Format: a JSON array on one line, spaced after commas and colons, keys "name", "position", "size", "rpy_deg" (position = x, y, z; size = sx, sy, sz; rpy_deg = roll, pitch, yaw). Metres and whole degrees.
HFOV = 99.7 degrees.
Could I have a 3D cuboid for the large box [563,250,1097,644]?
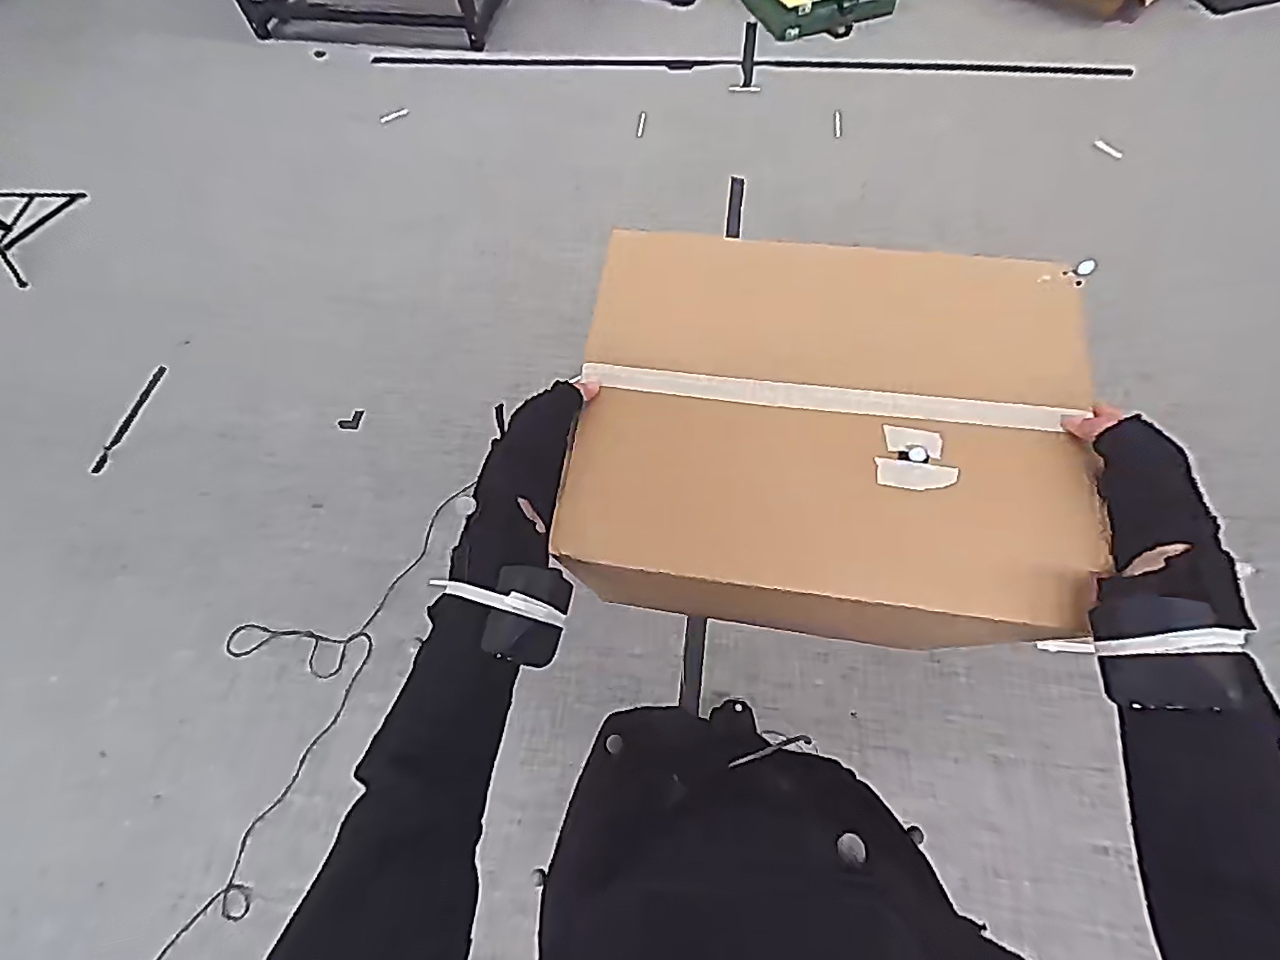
[{"name": "large box", "position": [0.158, -0.008, 0.592], "size": [0.408, 0.320, 0.320], "rpy_deg": [7, 73, 5]}]
